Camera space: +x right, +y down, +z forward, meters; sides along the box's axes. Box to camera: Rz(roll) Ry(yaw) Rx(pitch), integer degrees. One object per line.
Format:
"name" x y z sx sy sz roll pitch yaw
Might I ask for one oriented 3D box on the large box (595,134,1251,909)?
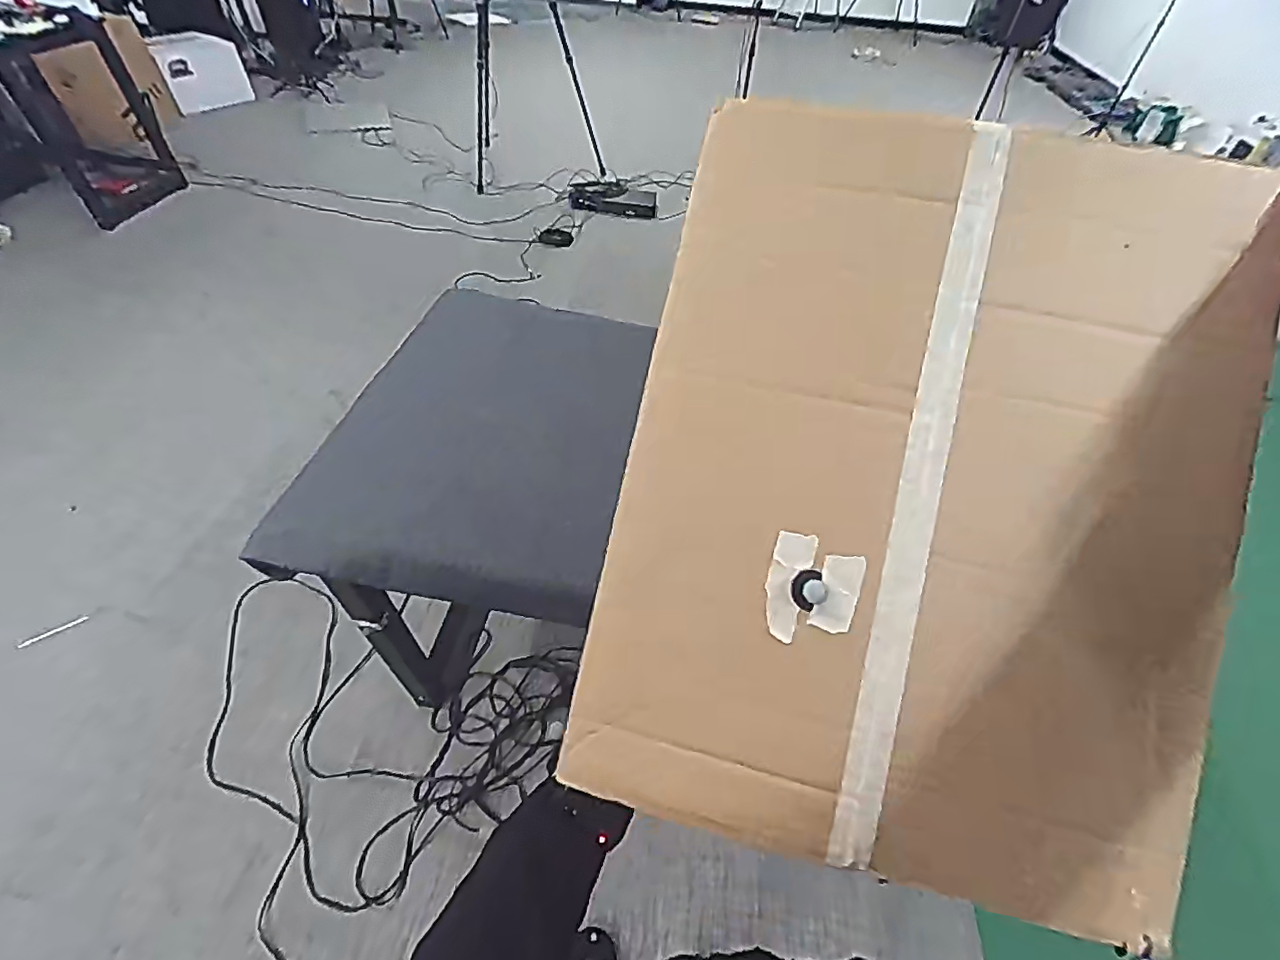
"large box" 0.171 0.015 0.458 0.320 0.320 0.408 12 88 7
